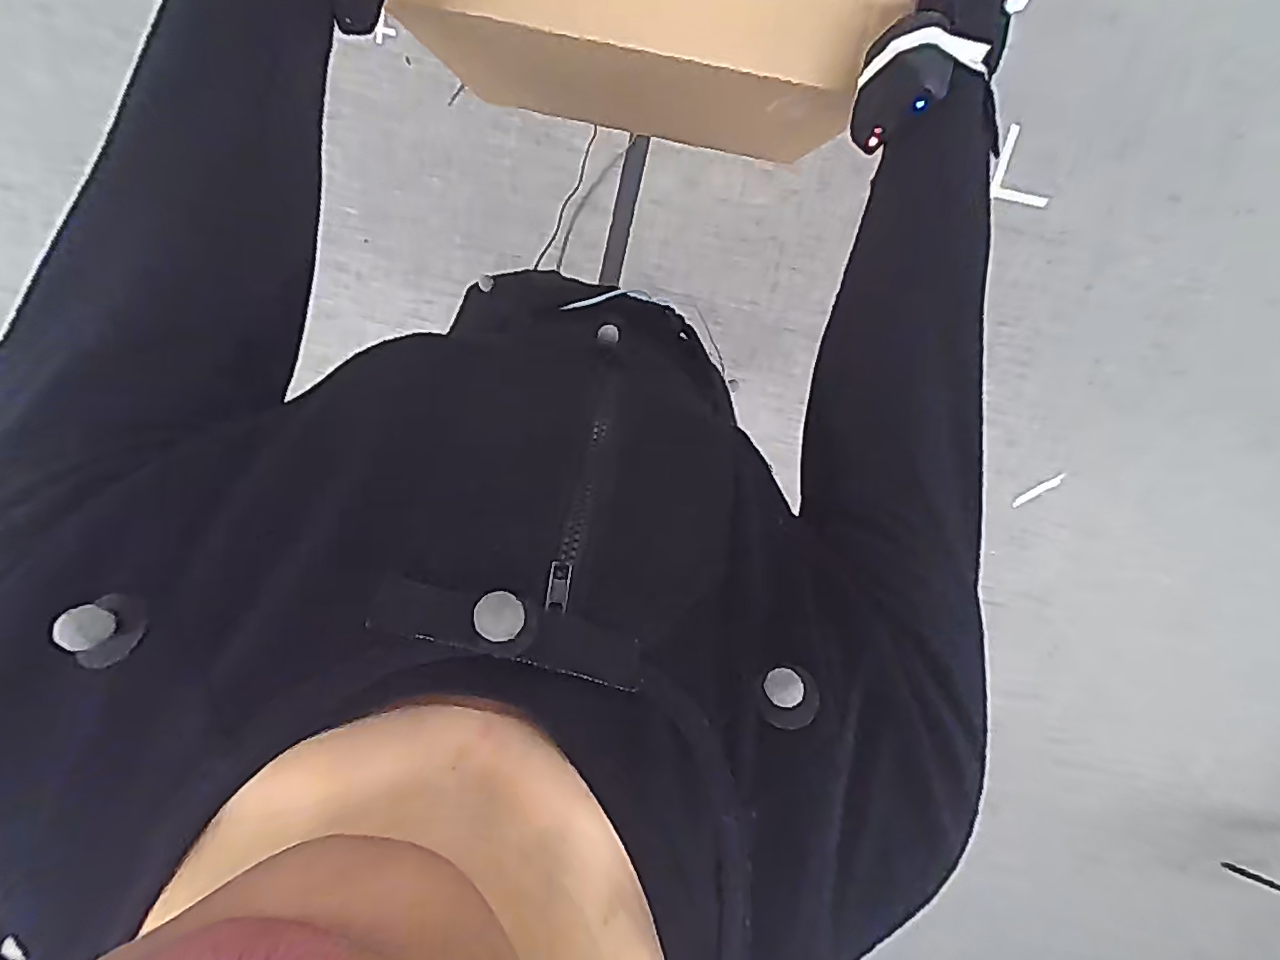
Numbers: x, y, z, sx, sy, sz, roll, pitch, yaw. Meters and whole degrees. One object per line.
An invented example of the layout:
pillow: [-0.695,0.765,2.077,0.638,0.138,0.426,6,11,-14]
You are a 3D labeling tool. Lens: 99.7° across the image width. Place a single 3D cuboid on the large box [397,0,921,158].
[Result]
large box: [0.028,-0.525,0.493,0.408,0.320,0.320,10,113,-4]
